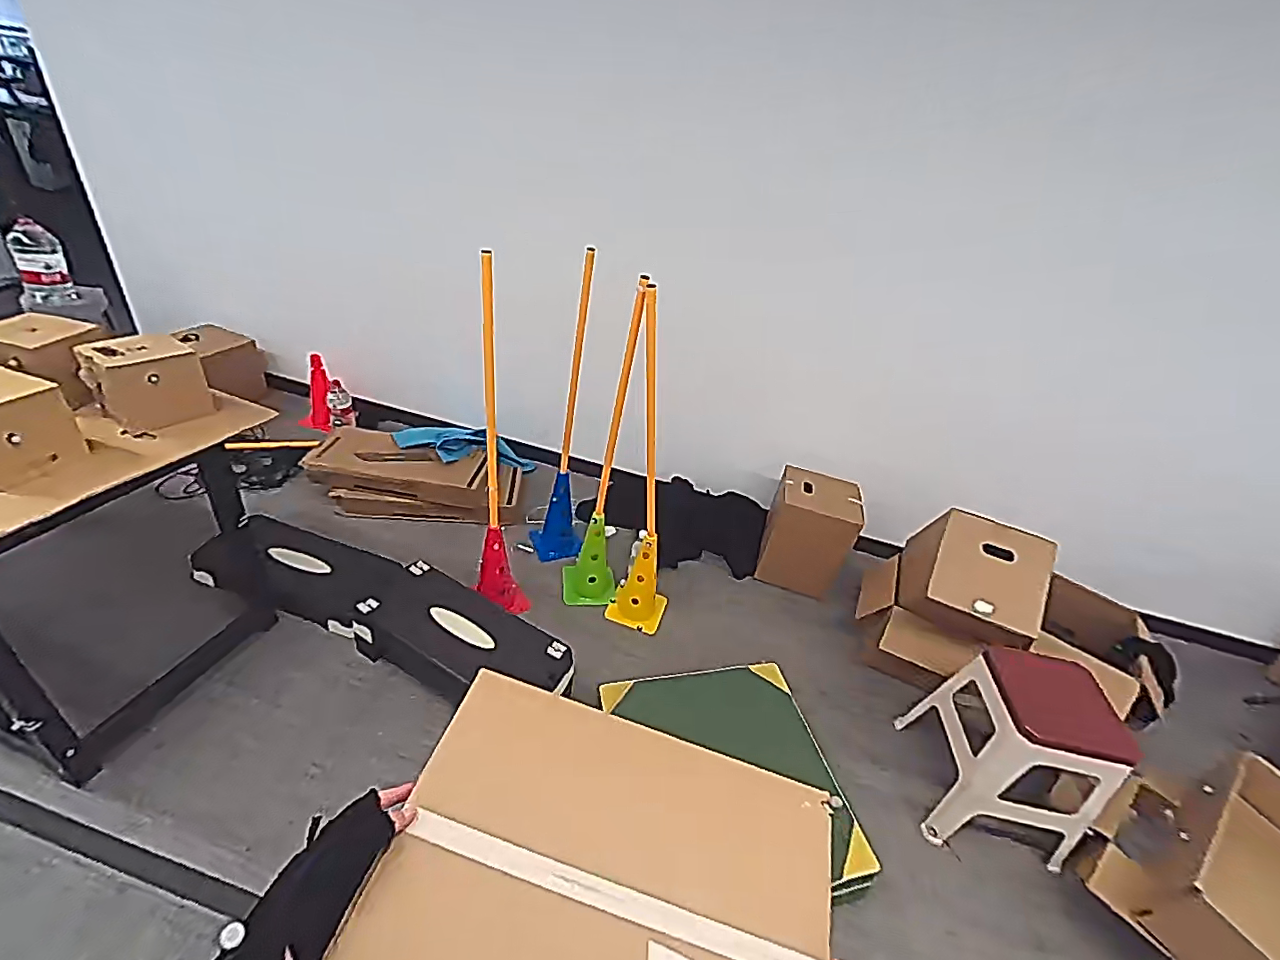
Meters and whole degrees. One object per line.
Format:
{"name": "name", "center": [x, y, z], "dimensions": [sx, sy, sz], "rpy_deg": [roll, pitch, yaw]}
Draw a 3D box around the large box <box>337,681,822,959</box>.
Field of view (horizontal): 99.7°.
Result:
{"name": "large box", "center": [-0.057, 0.488, 0.591], "dimensions": [0.408, 0.320, 0.320], "rpy_deg": [18, 42, 5]}
